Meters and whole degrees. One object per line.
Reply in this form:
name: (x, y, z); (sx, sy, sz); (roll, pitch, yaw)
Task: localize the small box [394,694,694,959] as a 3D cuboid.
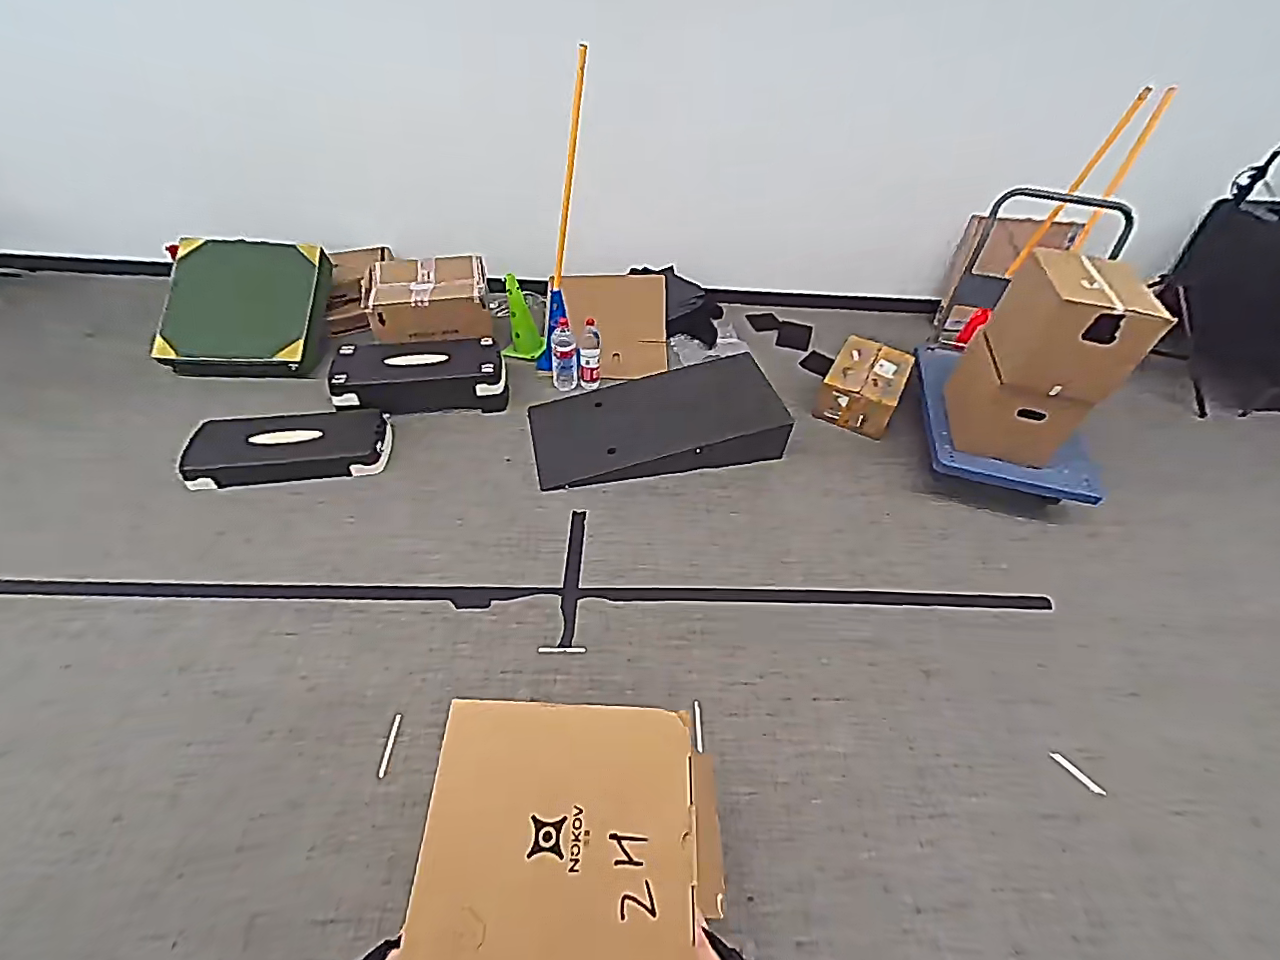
small box: (-0.057, 0.272, 0.413); (0.179, 0.176, 0.168); (5, 57, -3)
